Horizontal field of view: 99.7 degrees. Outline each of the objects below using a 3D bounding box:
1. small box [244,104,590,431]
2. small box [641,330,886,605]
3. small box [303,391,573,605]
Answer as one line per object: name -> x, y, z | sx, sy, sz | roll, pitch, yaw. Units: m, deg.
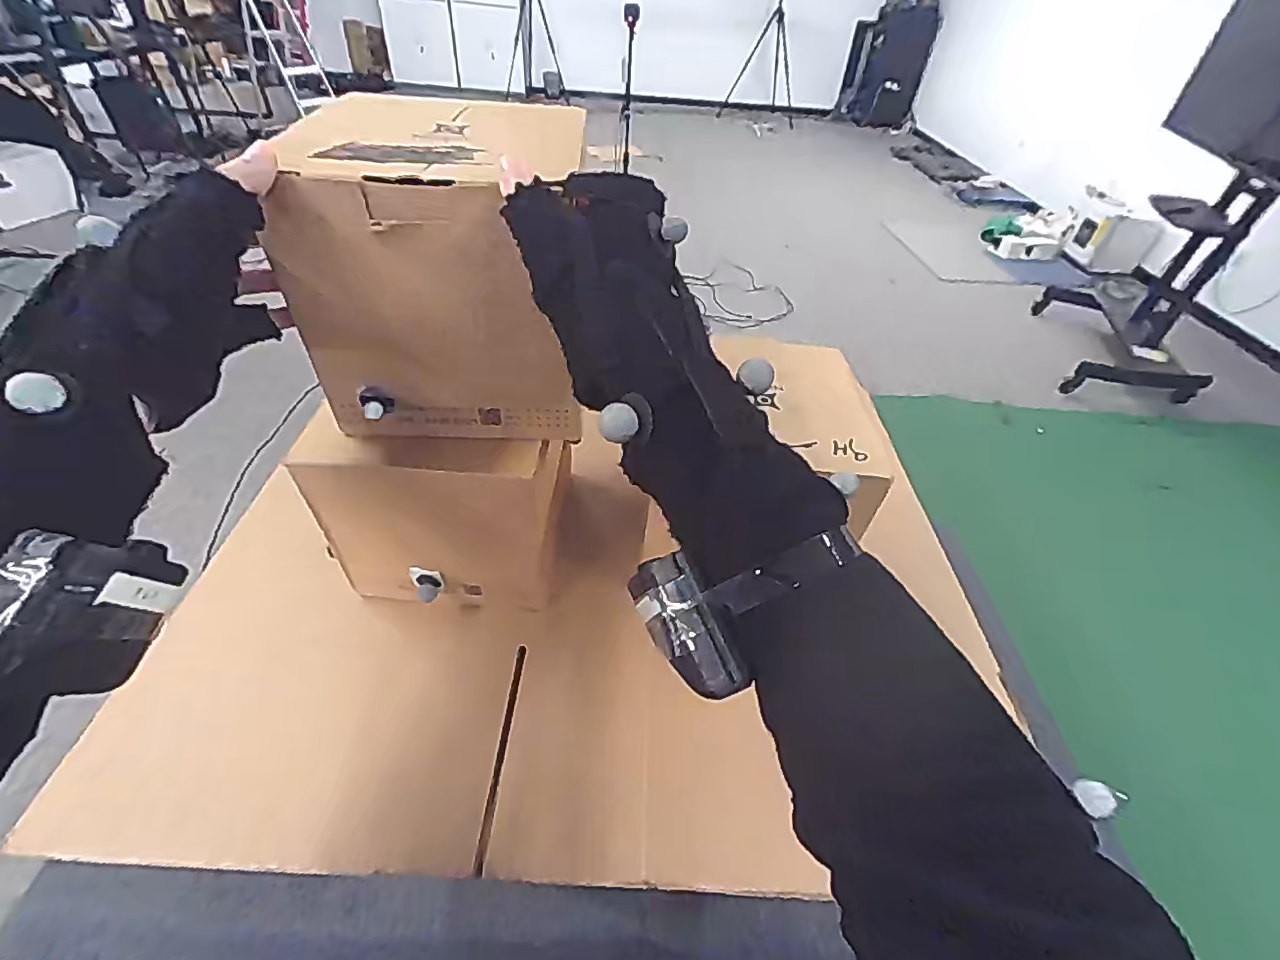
small box -> -0.122, -0.150, 0.387 | 0.168, 0.176, 0.179 | 1, 44, -3
small box -> 0.091, -0.012, 0.493 | 0.168, 0.176, 0.179 | 5, 44, -1
small box -> -0.151, -0.012, 0.482 | 0.168, 0.176, 0.179 | 3, 47, -1
